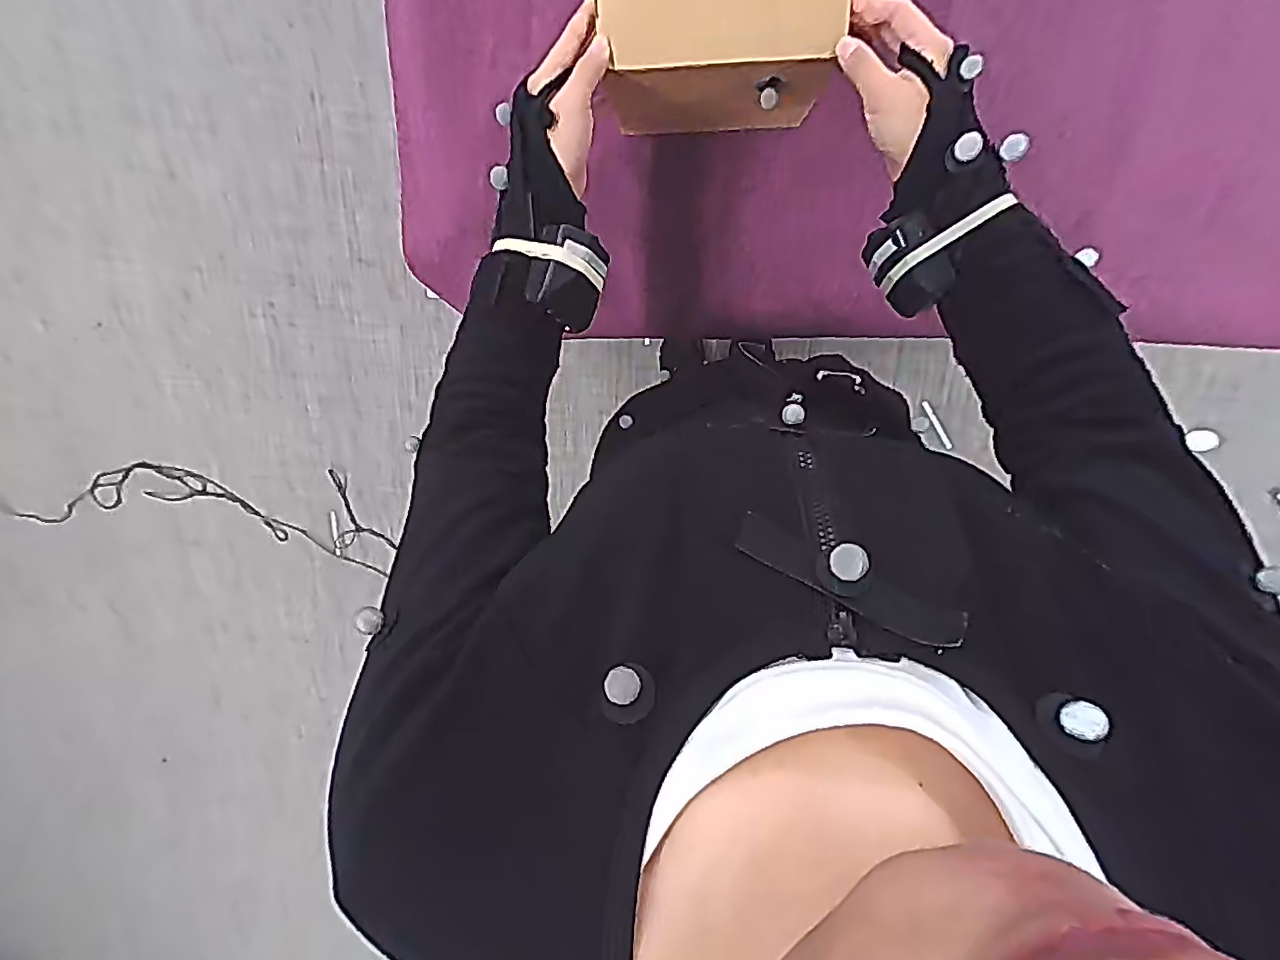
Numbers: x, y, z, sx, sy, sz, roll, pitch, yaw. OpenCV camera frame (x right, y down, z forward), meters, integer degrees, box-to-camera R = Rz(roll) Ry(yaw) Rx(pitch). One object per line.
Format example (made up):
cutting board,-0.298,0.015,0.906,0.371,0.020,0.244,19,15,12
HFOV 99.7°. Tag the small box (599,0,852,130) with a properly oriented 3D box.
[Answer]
small box,0.062,-0.396,0.429,0.179,0.176,0.168,1,109,5
